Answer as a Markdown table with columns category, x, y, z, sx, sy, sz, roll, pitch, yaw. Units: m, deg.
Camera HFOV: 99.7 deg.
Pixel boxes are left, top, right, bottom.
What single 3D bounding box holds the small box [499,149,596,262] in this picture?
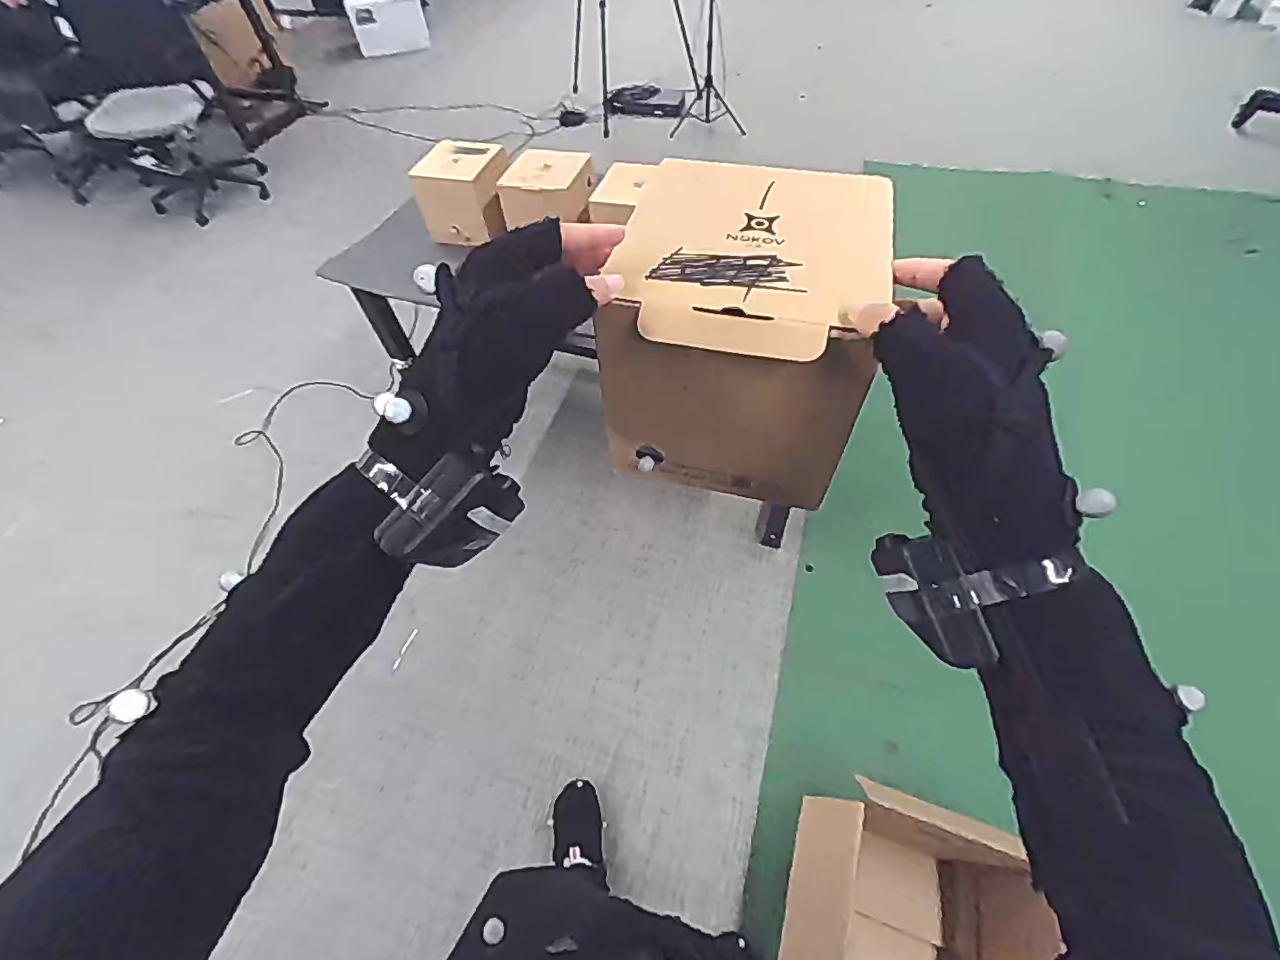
| category | x | y | z | sx | sy | sz | roll | pitch | yaw |
| --- | --- | --- | --- | --- | --- | --- | --- | --- | --- |
| small box | -0.203 | -0.640 | 1.263 | 0.168 | 0.176 | 0.179 | 11 | 56 | 12 |

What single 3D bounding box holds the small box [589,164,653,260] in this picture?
| category | x | y | z | sx | sy | sz | roll | pitch | yaw |
| --- | --- | --- | --- | --- | --- | --- | --- | --- | --- |
| small box | 0.001 | -0.573 | 1.202 | 0.168 | 0.176 | 0.179 | 12 | 55 | 12 |

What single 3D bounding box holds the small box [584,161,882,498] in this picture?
| category | x | y | z | sx | sy | sz | roll | pitch | yaw |
| --- | --- | --- | --- | --- | --- | --- | --- | --- | --- |
| small box | 0.071 | -0.109 | 0.409 | 0.168 | 0.176 | 0.179 | 11 | 55 | 10 |
